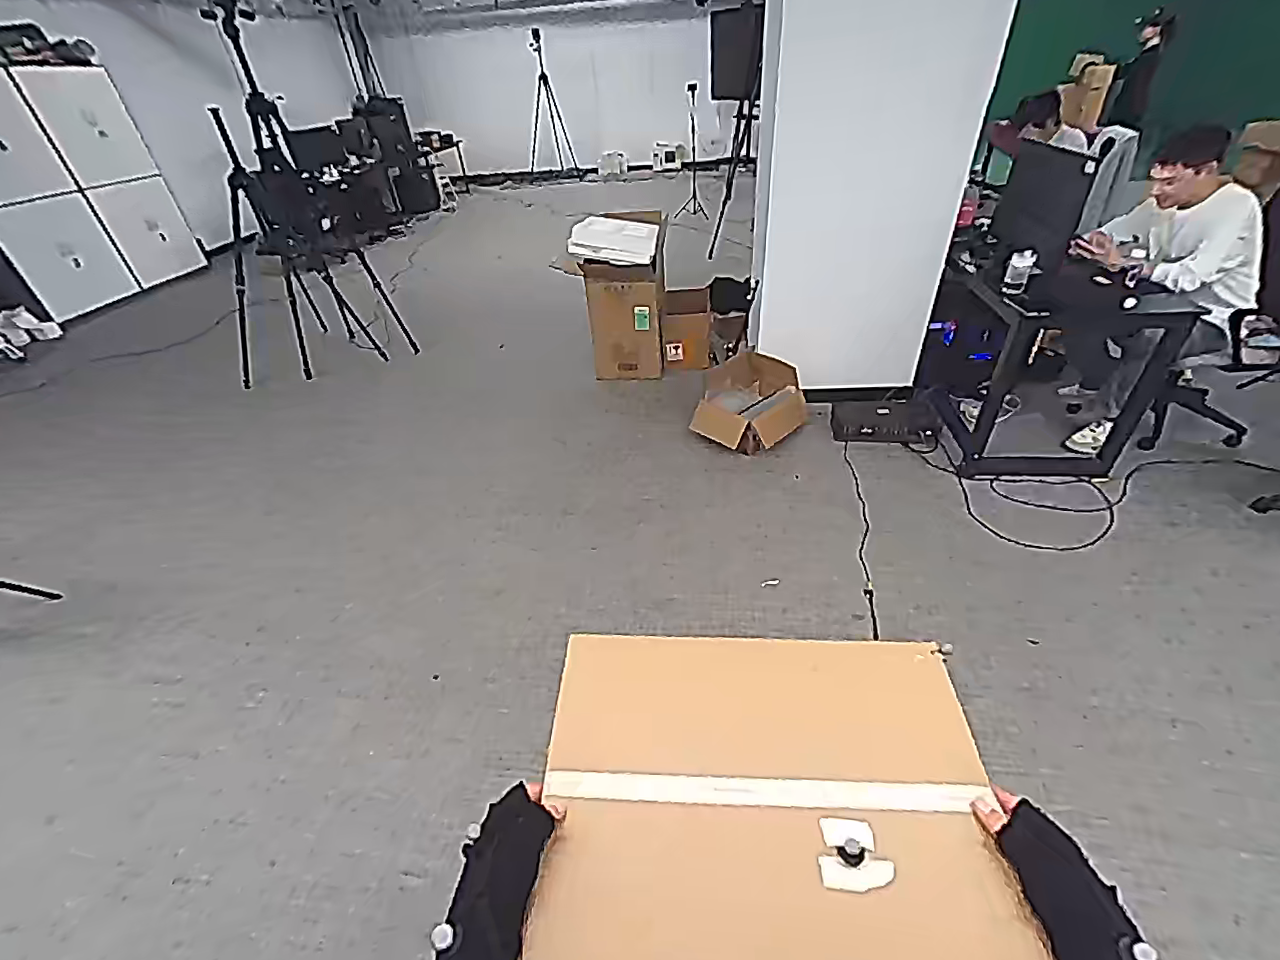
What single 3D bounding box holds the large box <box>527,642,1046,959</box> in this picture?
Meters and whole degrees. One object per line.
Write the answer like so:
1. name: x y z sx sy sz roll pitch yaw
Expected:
1. large box: 0.118 0.399 0.599 0.408 0.320 0.320 0 43 4
